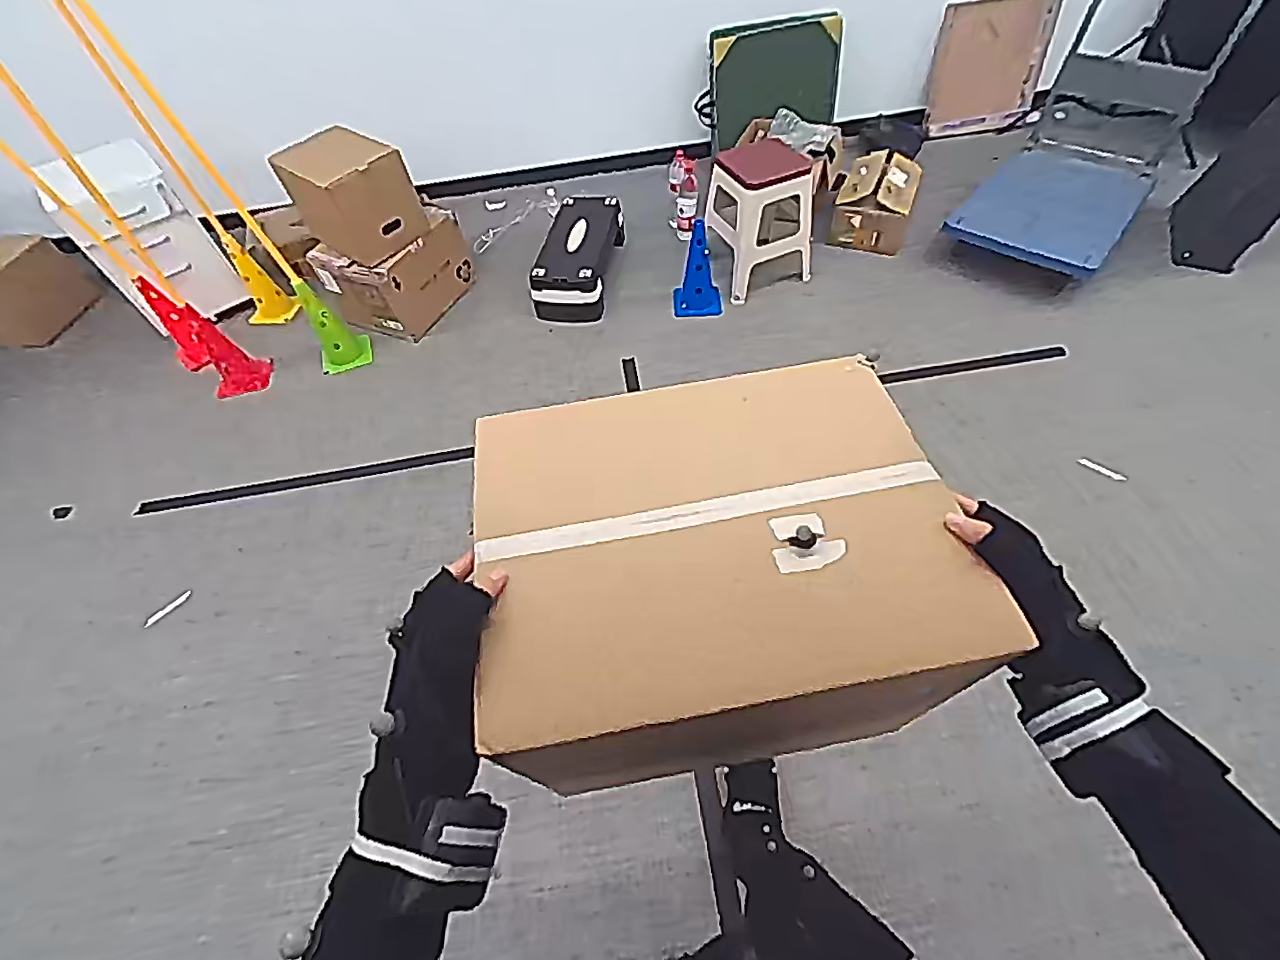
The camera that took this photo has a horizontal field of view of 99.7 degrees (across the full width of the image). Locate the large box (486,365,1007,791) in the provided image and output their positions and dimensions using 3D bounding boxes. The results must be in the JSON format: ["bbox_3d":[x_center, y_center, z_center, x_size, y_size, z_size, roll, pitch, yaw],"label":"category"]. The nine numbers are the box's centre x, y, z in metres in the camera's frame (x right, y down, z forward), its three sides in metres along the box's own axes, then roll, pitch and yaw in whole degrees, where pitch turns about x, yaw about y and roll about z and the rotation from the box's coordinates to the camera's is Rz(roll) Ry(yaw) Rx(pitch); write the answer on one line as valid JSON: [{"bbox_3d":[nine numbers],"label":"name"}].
[{"bbox_3d":[0.069,0.119,0.605,0.408,0.320,0.320,-10,55,-3],"label":"large box"}]
